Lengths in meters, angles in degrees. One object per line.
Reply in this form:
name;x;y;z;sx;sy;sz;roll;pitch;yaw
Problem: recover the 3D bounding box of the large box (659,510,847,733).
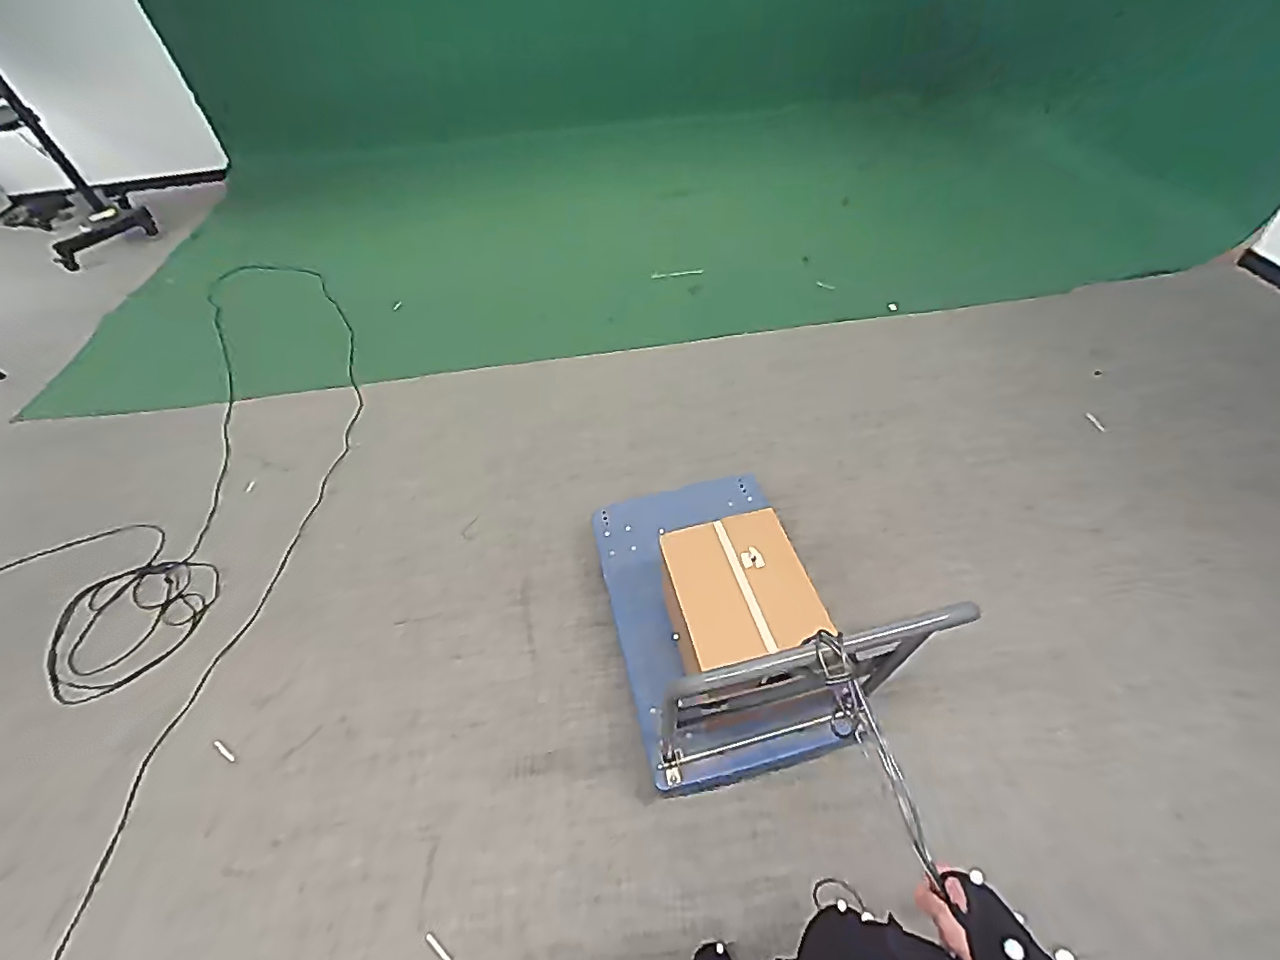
large box;0.256;0.351;1.361;0.320;0.320;0.408;-13;49;-7
